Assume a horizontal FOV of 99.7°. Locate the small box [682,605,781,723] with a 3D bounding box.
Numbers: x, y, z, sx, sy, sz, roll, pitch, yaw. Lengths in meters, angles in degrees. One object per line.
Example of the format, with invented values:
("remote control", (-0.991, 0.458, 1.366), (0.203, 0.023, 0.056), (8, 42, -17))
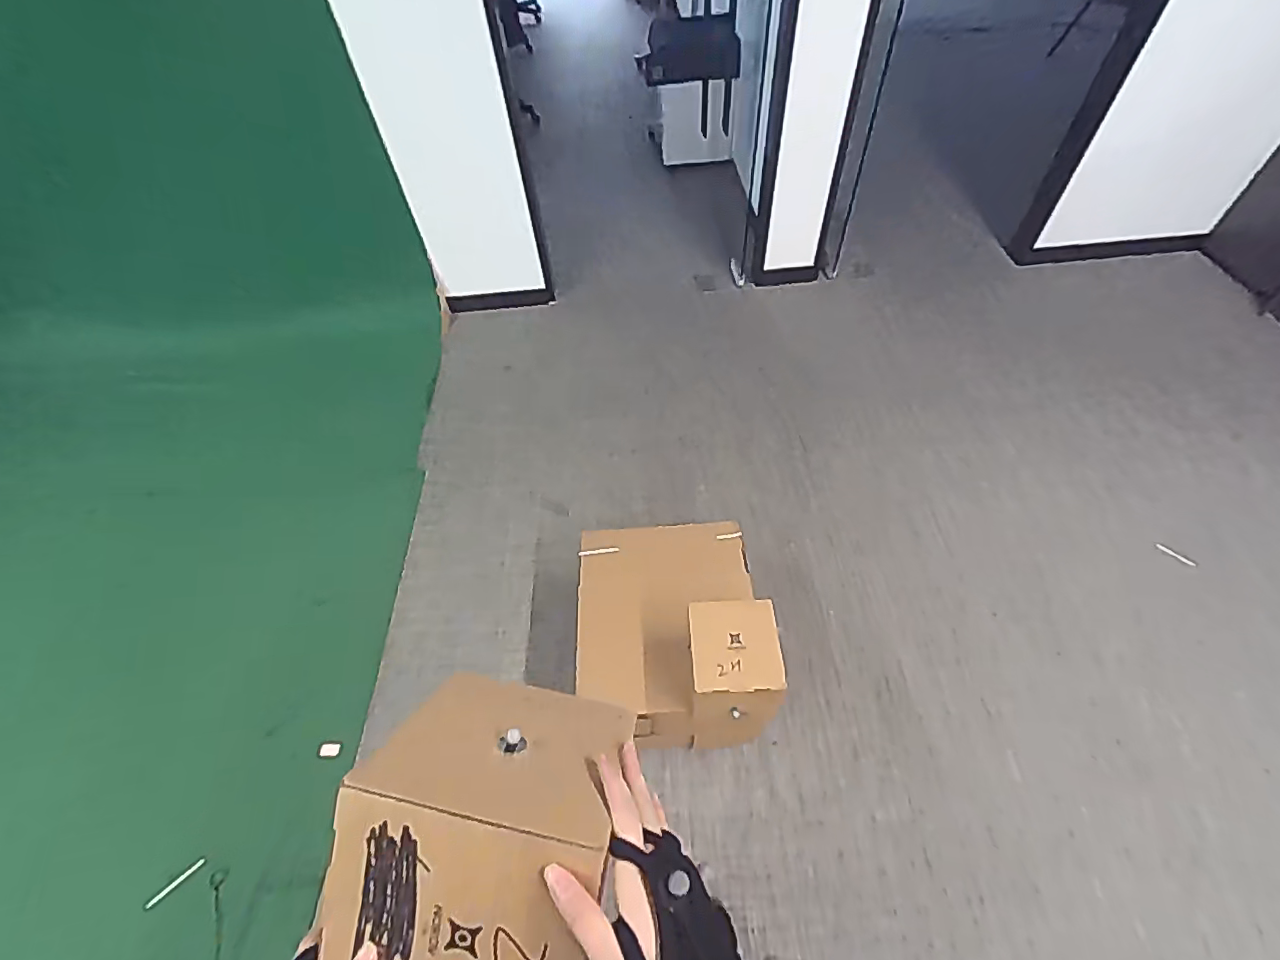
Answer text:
("small box", (0.171, 0.365, 1.071), (0.168, 0.176, 0.179), (-2, 51, 1))
